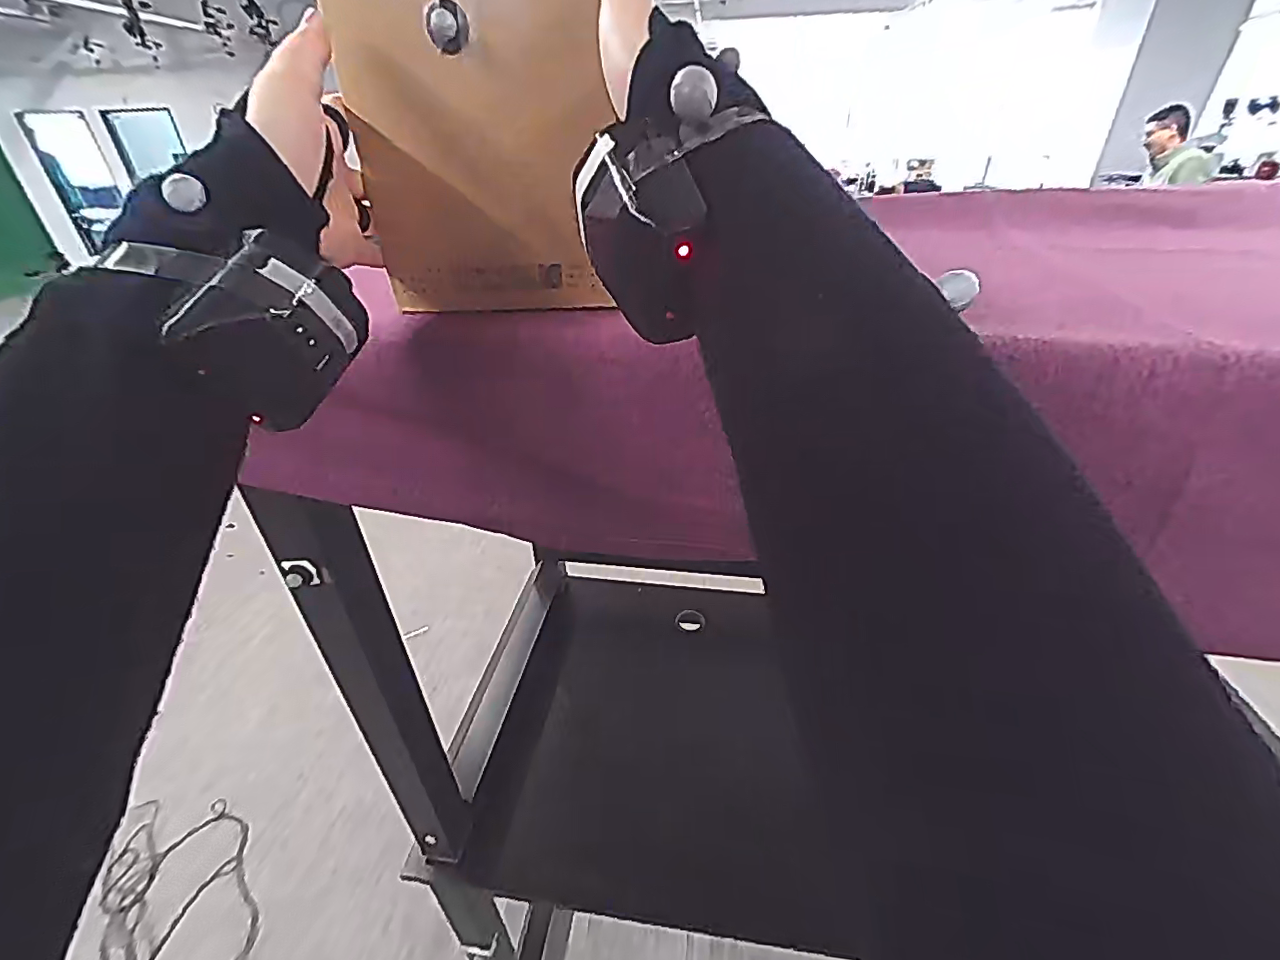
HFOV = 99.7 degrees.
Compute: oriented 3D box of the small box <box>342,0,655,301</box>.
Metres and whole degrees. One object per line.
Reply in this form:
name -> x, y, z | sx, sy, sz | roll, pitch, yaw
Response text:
small box -> -0.074, -0.230, 0.380 | 0.168, 0.176, 0.179 | -1, 31, 0
